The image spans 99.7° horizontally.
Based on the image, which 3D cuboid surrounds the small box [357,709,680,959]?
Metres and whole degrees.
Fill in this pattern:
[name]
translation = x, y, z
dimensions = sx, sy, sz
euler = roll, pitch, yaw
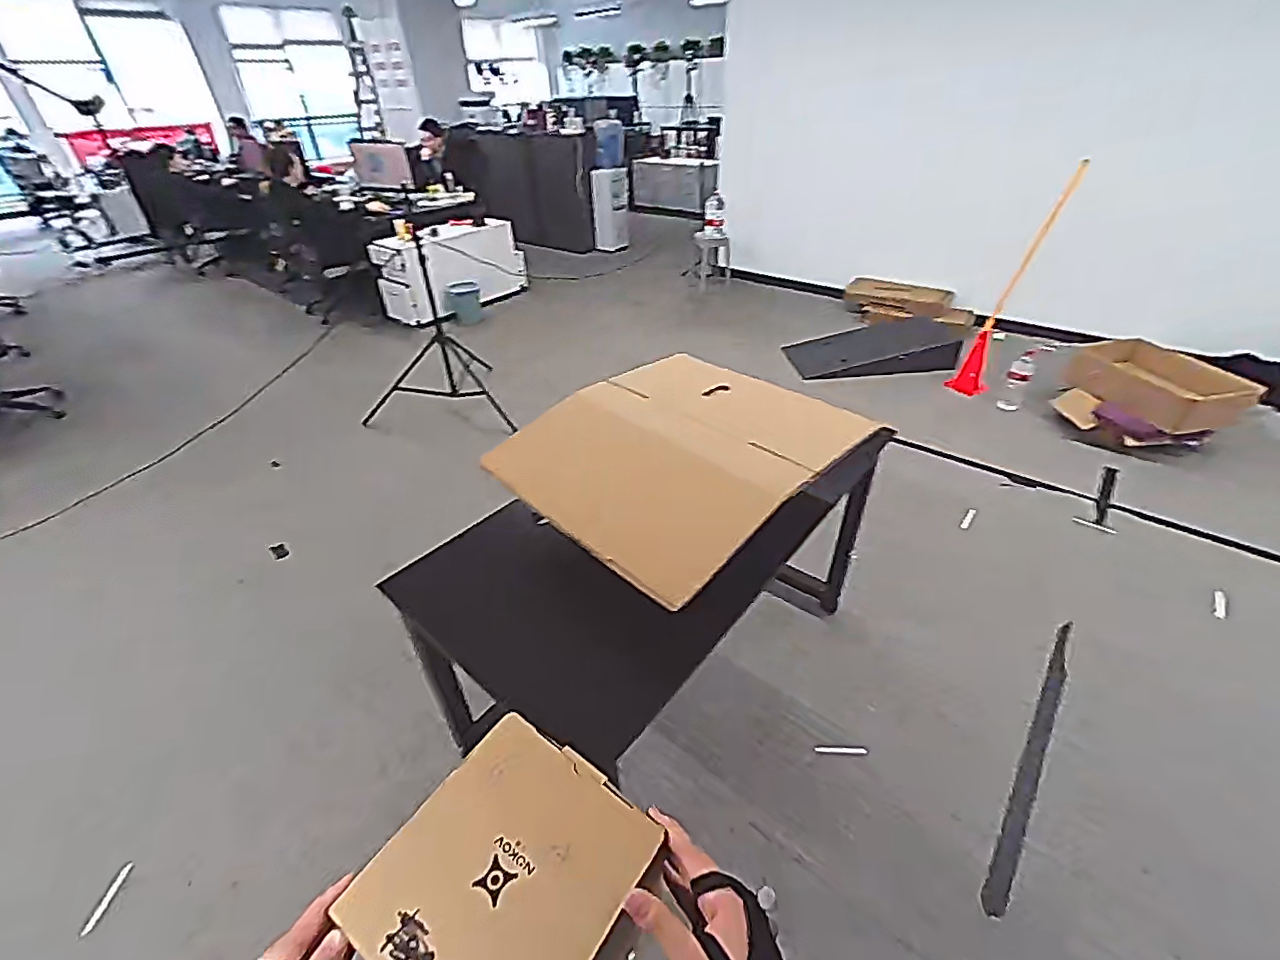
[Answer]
[small box]
translation = -0.086, 0.338, 0.442
dimensions = 0.168, 0.176, 0.179
euler = 24, 44, 27
